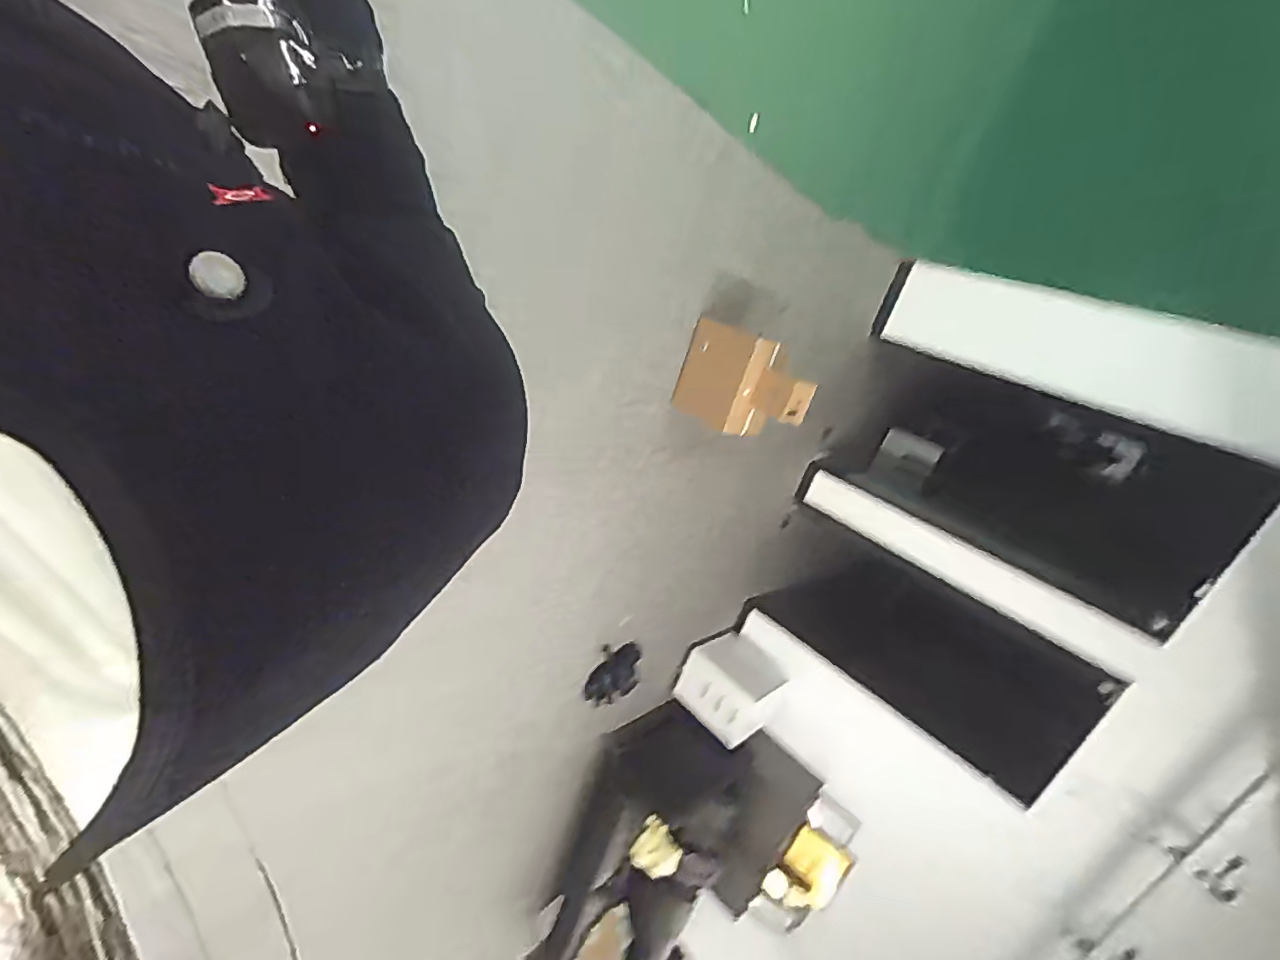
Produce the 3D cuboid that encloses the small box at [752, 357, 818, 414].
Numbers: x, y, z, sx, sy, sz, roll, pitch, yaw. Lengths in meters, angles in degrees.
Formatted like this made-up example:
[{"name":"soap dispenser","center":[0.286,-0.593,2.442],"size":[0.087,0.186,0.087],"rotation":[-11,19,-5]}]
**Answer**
[{"name":"small box","center":[0.586,-0.385,2.214],"size":[0.168,0.176,0.179],"rotation":[-3,120,-42]}]
